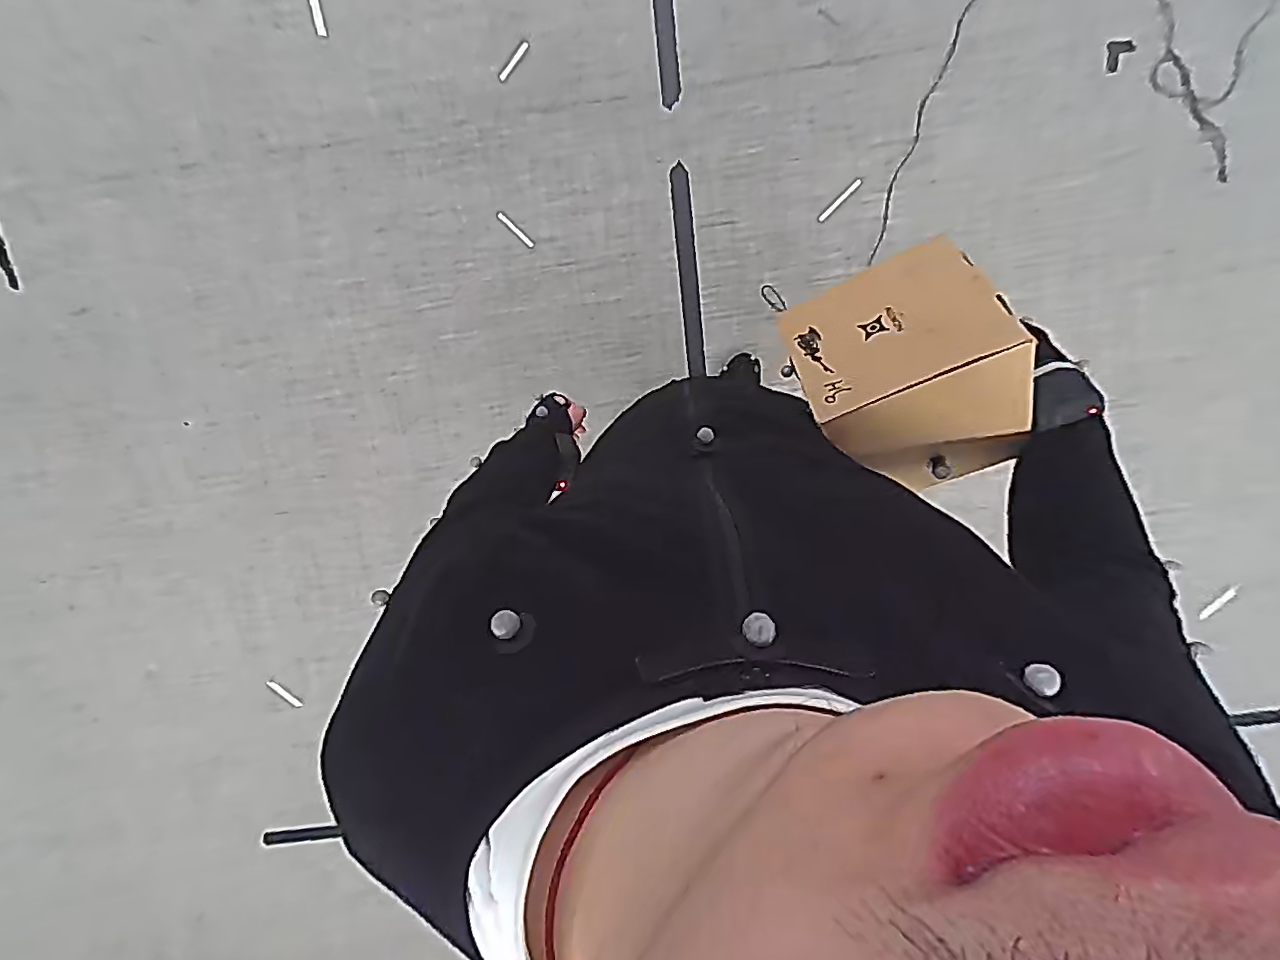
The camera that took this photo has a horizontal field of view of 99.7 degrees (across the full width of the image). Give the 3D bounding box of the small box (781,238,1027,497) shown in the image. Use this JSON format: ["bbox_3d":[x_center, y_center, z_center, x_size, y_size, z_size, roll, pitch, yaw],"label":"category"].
[{"bbox_3d":[0.274,-0.109,0.576,0.179,0.168,0.176,-22,139,20],"label":"small box"}]
